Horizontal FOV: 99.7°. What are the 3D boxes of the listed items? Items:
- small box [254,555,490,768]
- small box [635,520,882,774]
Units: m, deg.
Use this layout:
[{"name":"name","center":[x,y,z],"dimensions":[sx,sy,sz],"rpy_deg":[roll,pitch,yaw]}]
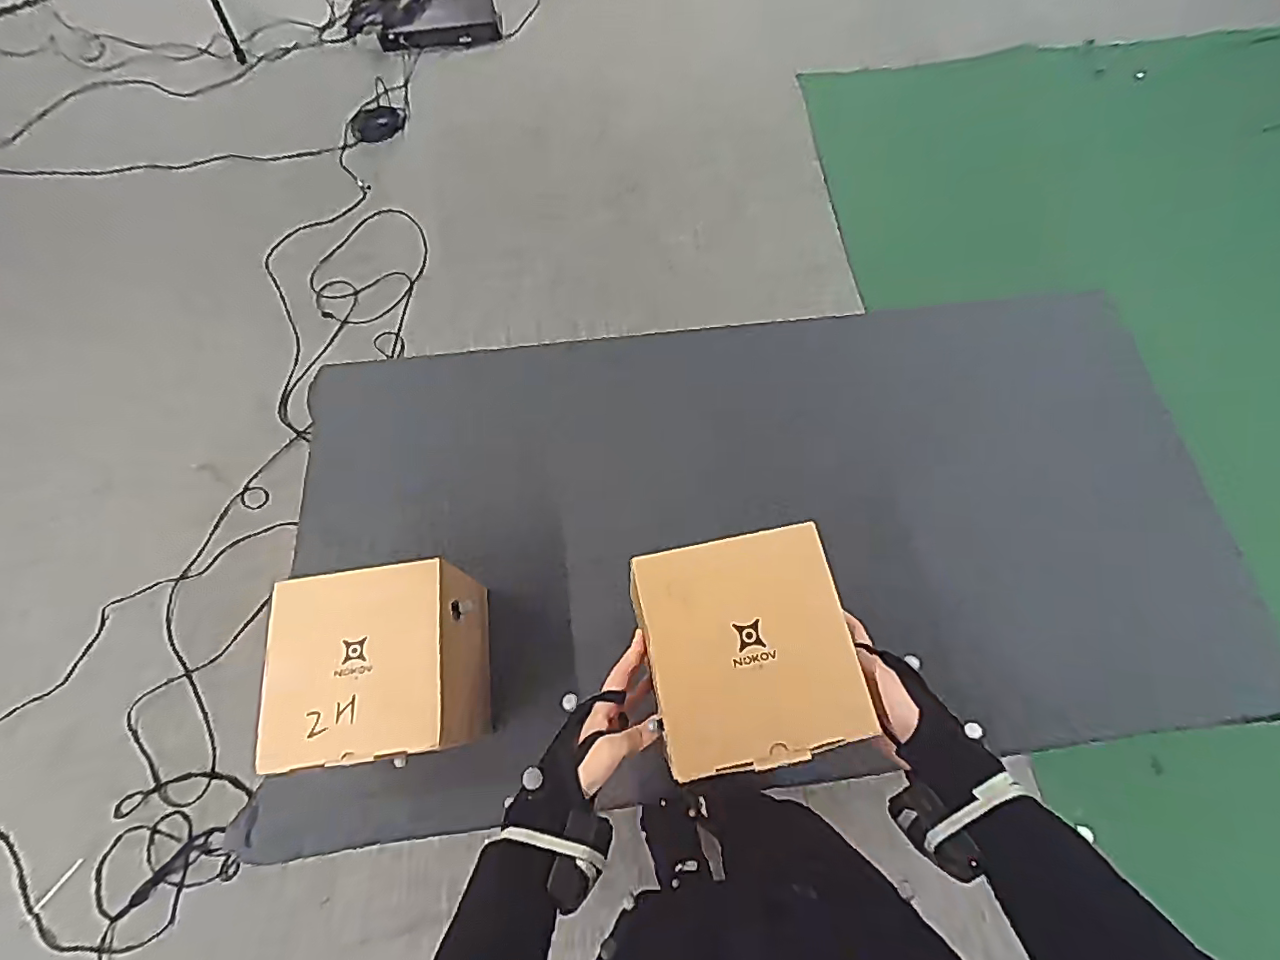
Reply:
[{"name":"small box","center":[-0.264,0.192,0.578],"dimensions":[0.168,0.176,0.179],"rpy_deg":[-7,69,-2]},{"name":"small box","center":[0.090,0.155,0.514],"dimensions":[0.168,0.176,0.179],"rpy_deg":[-11,71,-5]}]
